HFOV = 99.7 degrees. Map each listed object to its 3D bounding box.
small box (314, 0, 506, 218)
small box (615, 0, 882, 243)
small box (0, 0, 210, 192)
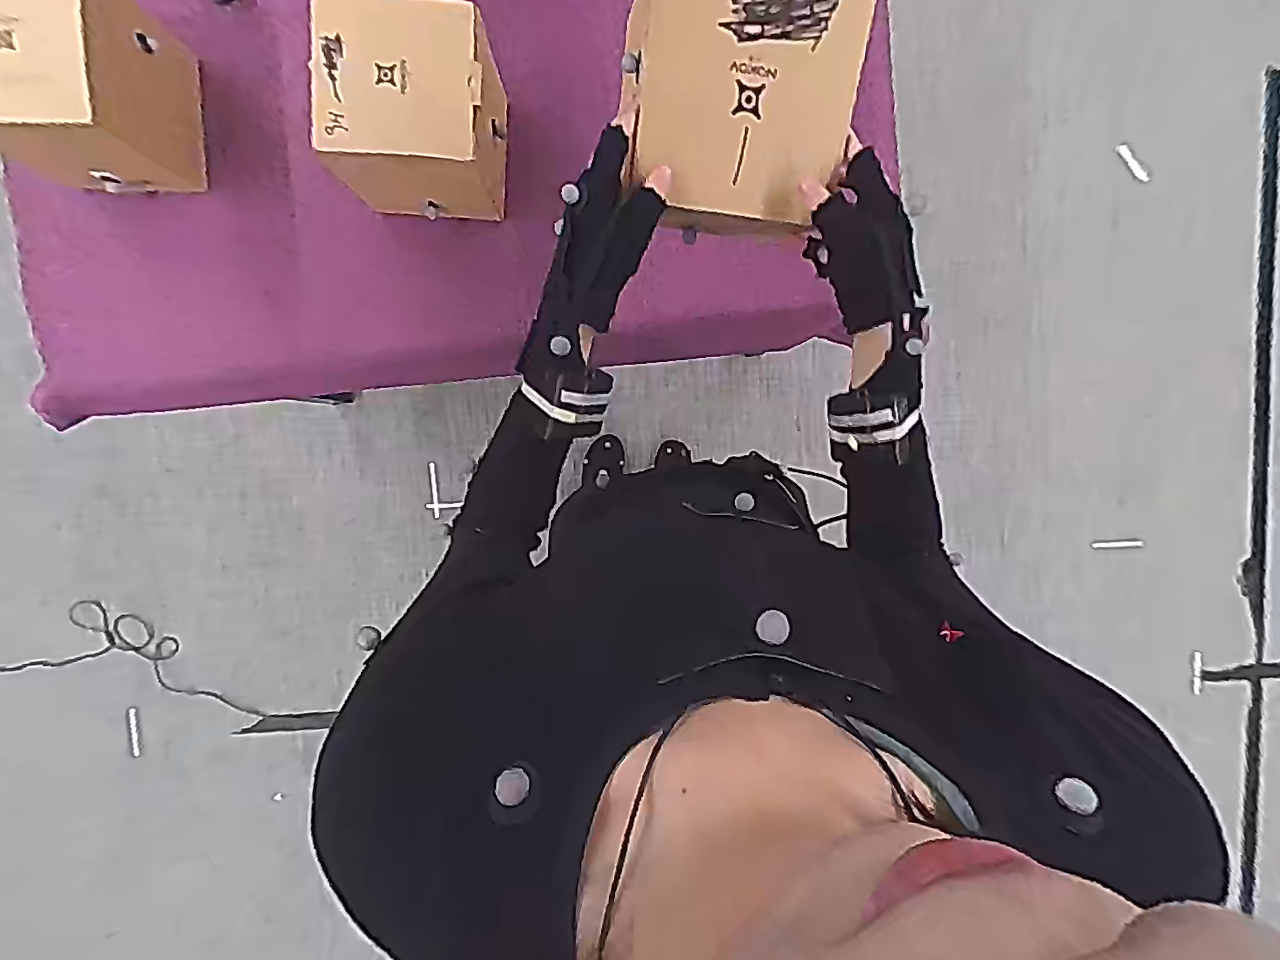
[{"bbox_3d":[-0.264,-0.438,0.658,0.179,0.176,0.168,2,94,-4],"label":"small box"},{"bbox_3d":[0.073,-0.315,0.468,0.168,0.176,0.179,4,110,-10],"label":"small box"},{"bbox_3d":[-0.654,-0.467,0.636,0.168,0.176,0.179,-1,96,-2],"label":"small box"}]
